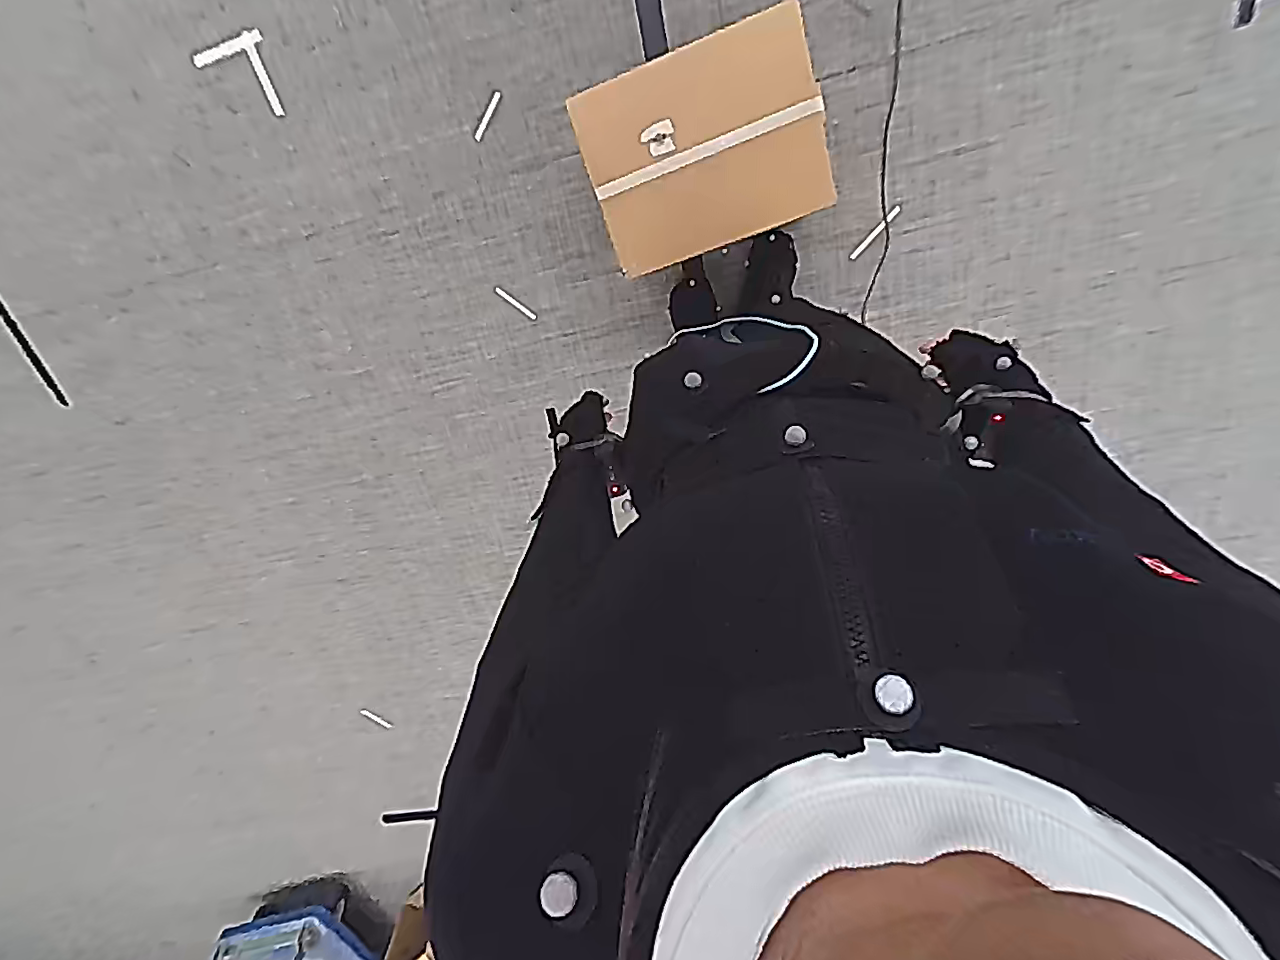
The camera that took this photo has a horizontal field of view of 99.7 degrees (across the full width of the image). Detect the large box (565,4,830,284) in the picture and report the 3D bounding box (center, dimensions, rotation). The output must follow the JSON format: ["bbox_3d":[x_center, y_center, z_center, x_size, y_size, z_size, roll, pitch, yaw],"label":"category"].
[{"bbox_3d":[0.118,-0.623,1.080,0.408,0.320,0.320,-16,109,13],"label":"large box"}]
